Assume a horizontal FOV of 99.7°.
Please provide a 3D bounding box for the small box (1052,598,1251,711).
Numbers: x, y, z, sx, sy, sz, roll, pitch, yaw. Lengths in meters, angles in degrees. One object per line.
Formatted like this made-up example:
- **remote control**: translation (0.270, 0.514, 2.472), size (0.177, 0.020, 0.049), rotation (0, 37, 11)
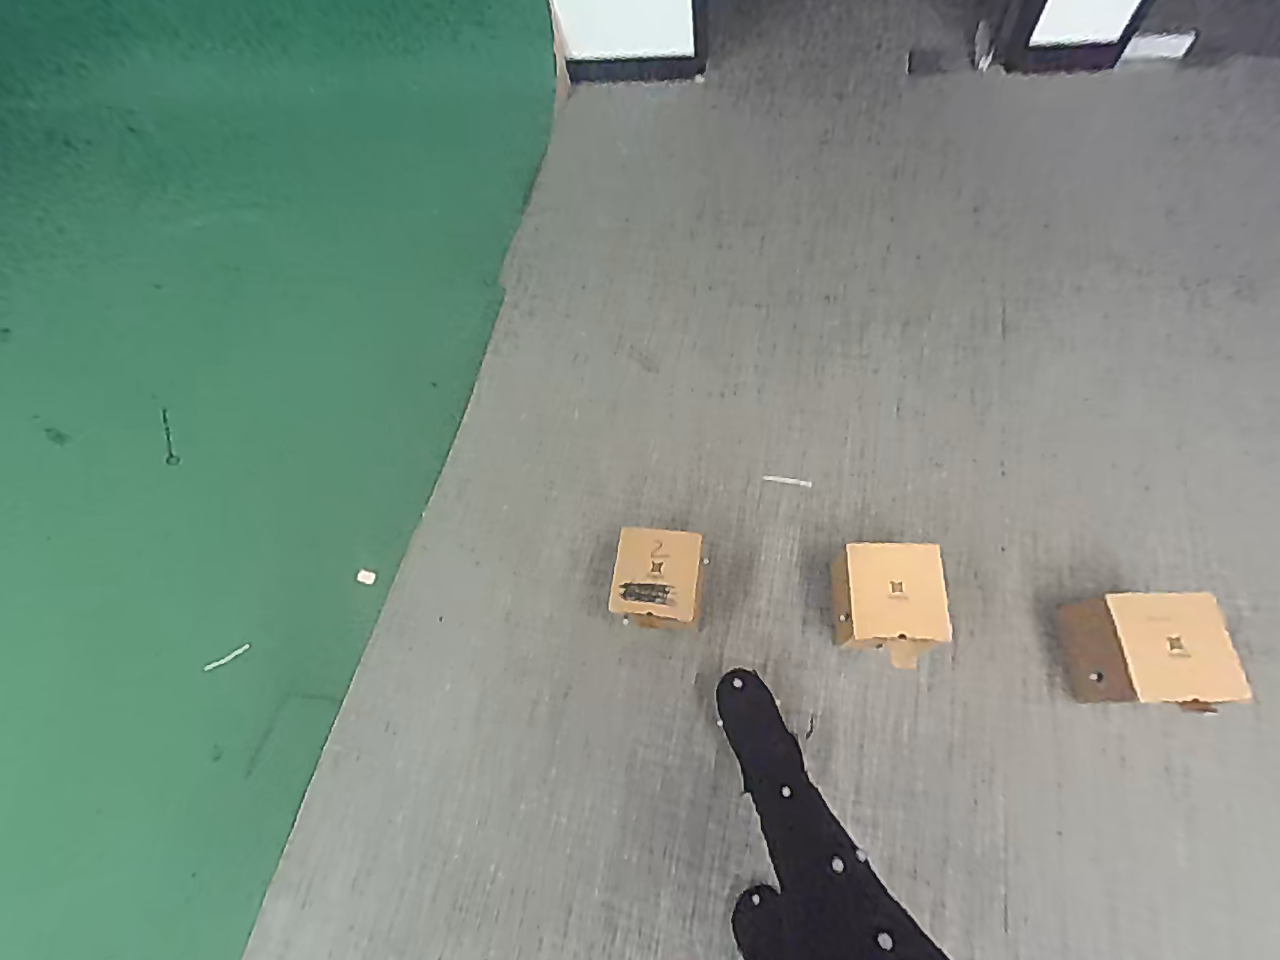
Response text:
- **small box**: translation (0.877, 0.310, 0.951), size (0.168, 0.176, 0.179), rotation (-3, 66, 7)

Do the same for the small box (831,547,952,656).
- **small box**: translation (0.474, 0.238, 1.046), size (0.168, 0.176, 0.179), rotation (0, 68, 9)
